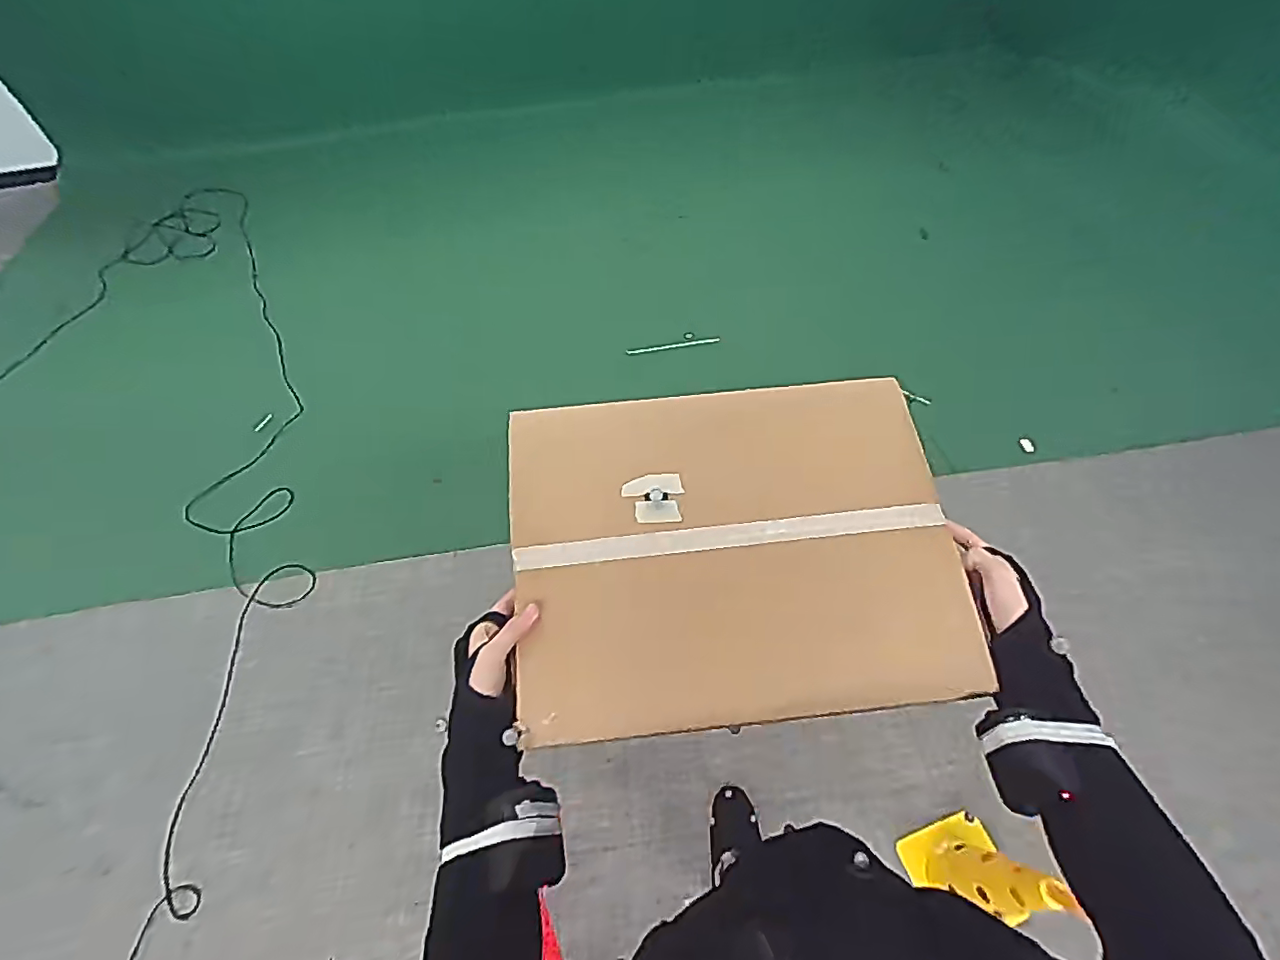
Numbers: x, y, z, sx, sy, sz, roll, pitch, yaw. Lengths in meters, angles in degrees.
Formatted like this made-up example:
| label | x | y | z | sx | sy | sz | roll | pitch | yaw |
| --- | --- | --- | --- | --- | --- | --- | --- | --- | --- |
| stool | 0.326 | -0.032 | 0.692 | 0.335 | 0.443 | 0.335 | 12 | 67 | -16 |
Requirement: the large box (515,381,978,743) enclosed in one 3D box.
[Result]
| label | x | y | z | sx | sy | sz | roll | pitch | yaw |
| --- | --- | --- | --- | --- | --- | --- | --- | --- | --- |
| large box | 0.088 | 0.111 | 0.659 | 0.408 | 0.320 | 0.320 | -7 | 68 | -1 |
